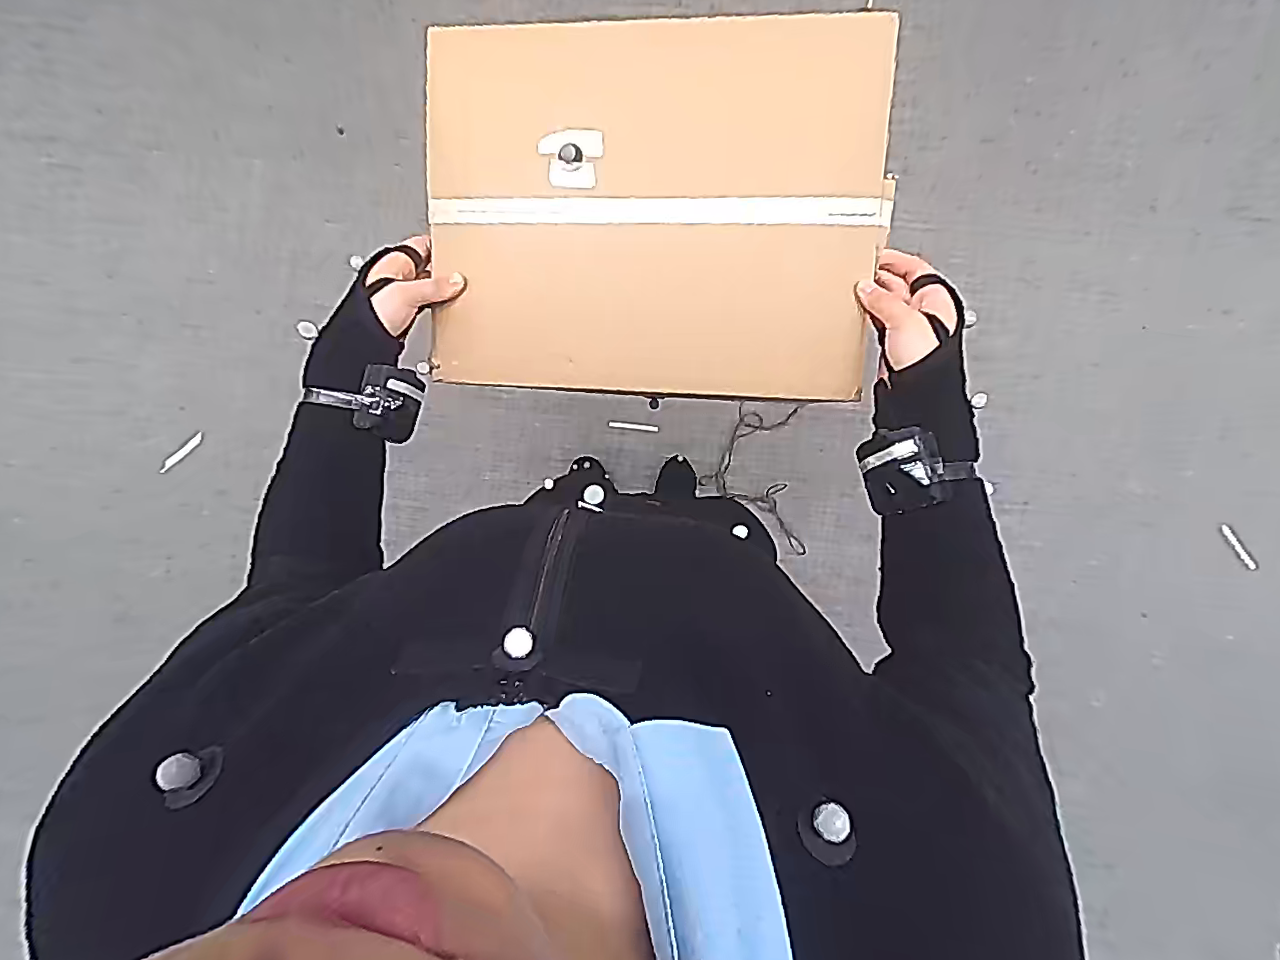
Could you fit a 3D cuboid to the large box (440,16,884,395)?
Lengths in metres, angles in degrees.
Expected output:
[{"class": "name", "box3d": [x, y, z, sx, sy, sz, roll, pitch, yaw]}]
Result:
[{"class": "large box", "box3d": [0.028, -0.260, 0.640, 0.408, 0.320, 0.320, 3, 97, 8]}]
